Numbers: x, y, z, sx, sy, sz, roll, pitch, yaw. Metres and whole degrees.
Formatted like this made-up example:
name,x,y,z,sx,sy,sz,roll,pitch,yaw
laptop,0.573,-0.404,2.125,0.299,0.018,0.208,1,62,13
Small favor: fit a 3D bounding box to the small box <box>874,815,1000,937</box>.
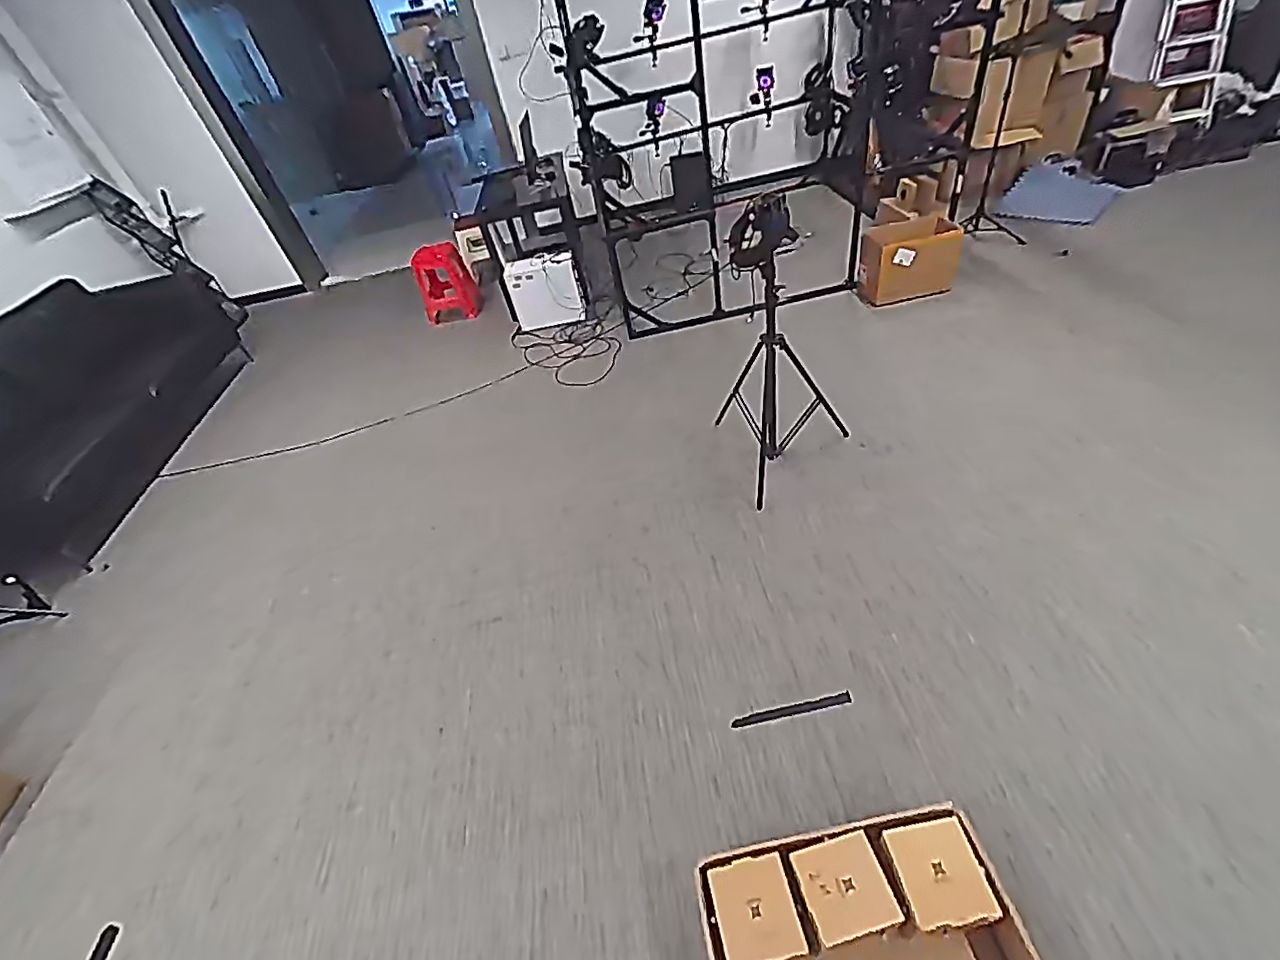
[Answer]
name,x,y,z,sx,sy,sz,roll,pitch,yaw
small box,0.629,0.862,1.176,0.168,0.176,0.179,-13,45,2
